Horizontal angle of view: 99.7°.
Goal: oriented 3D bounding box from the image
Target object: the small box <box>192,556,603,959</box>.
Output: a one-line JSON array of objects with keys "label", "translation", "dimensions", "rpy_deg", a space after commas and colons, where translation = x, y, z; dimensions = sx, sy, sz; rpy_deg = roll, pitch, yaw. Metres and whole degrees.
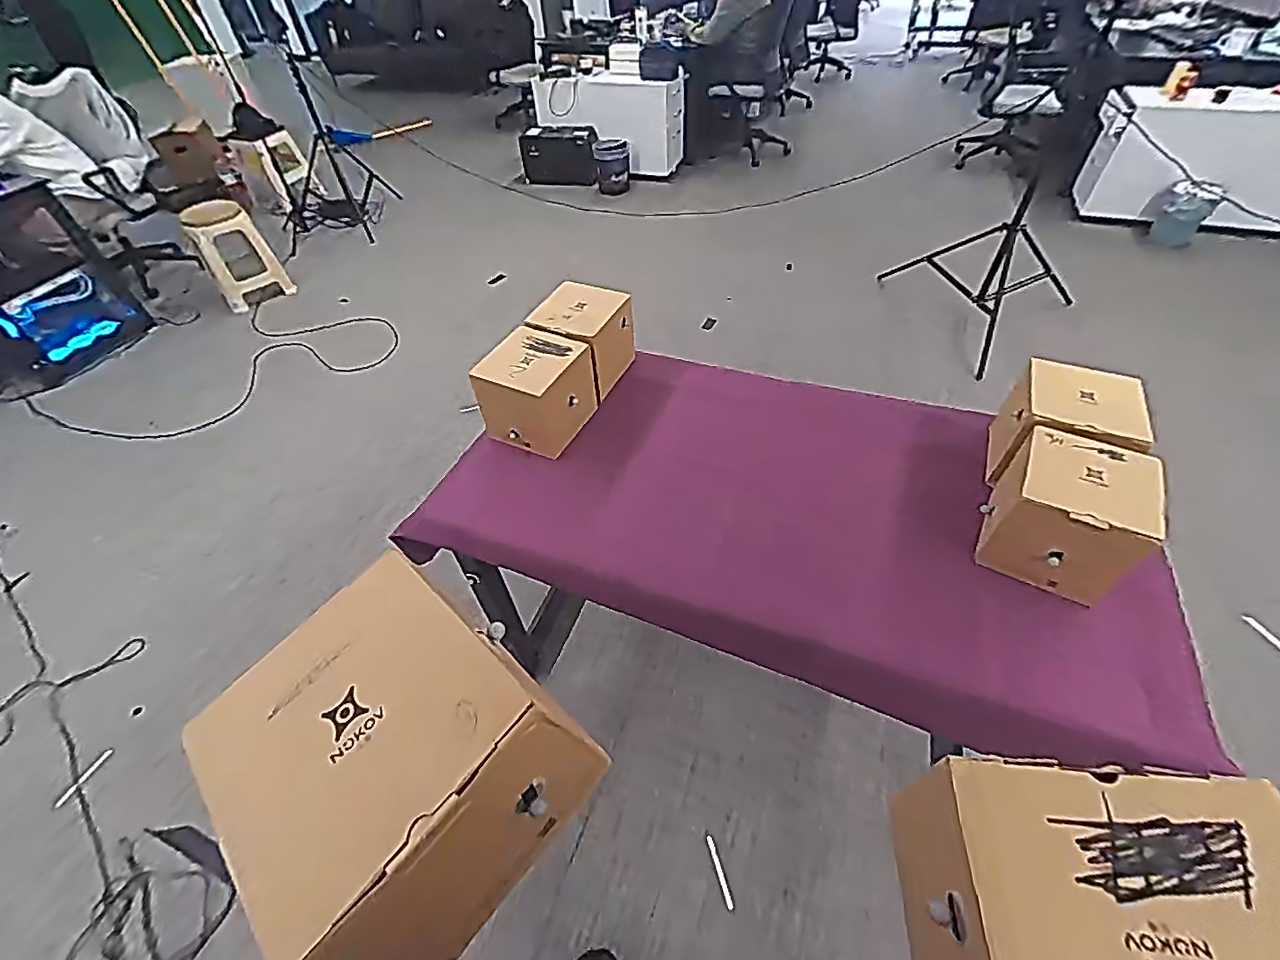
[{"label": "small box", "translation": [-0.151, 0.193, 0.384], "dimensions": [0.179, 0.176, 0.168], "rpy_deg": [30, 65, 33]}]

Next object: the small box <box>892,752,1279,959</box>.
[{"label": "small box", "translation": [0.265, 0.281, 0.321], "dimensions": [0.168, 0.176, 0.179], "rpy_deg": [-1, 53, 10]}]

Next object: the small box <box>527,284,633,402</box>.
[{"label": "small box", "translation": [-0.124, -0.303, 1.199], "dimensions": [0.168, 0.176, 0.179], "rpy_deg": [18, 52, 19]}]

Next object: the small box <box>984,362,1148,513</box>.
[{"label": "small box", "translation": [0.728, -0.074, 0.946], "dimensions": [0.168, 0.176, 0.179], "rpy_deg": [18, 51, 18]}]
